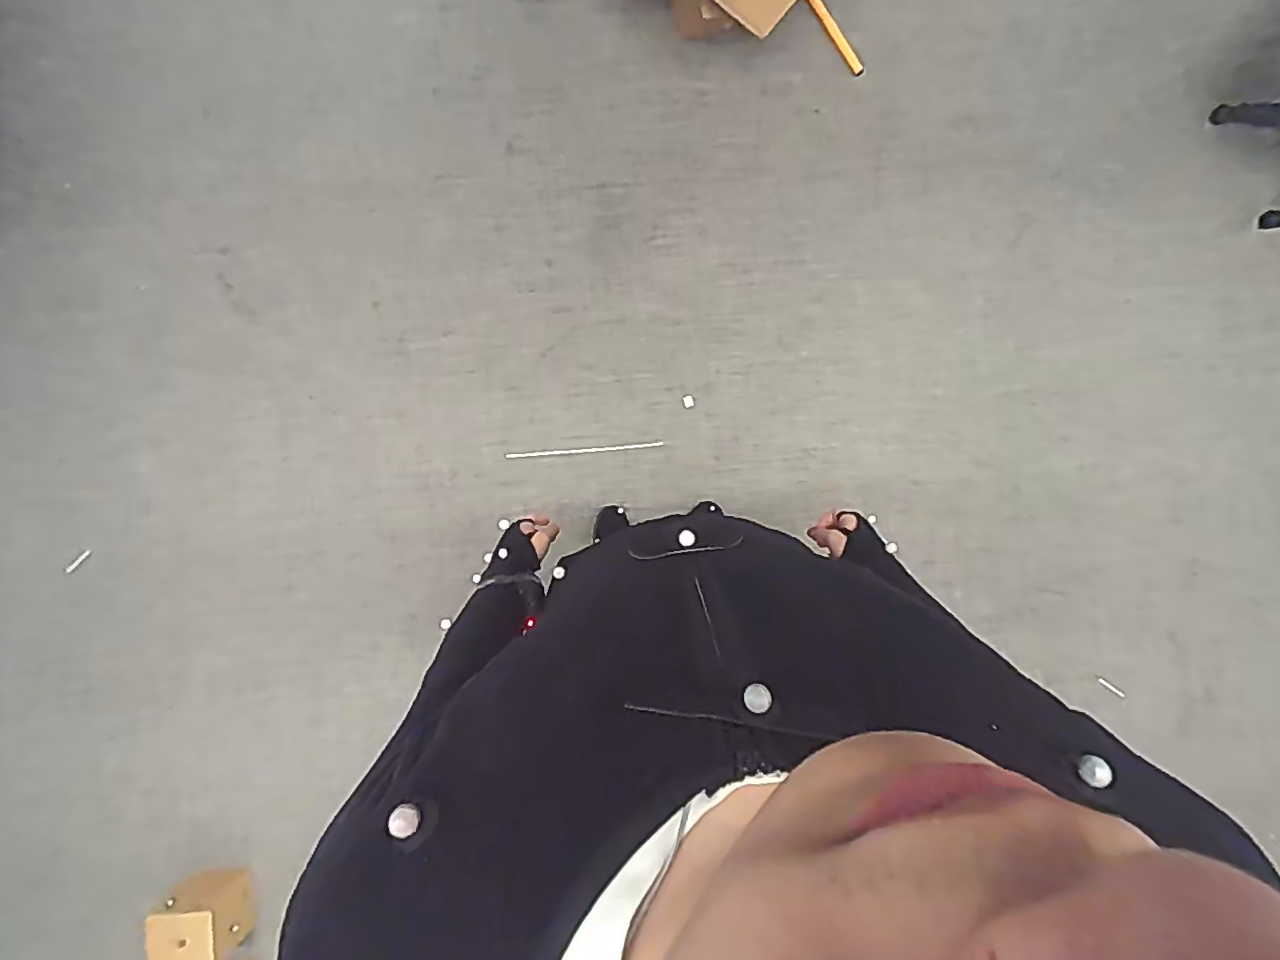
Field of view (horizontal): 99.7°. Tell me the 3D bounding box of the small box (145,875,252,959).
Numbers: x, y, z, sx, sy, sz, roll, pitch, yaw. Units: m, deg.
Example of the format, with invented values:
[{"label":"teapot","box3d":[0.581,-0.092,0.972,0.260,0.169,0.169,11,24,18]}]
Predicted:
[{"label":"small box","box3d":[-1.221,1.244,1.510,0.179,0.176,0.168,-4,89,-1]}]
